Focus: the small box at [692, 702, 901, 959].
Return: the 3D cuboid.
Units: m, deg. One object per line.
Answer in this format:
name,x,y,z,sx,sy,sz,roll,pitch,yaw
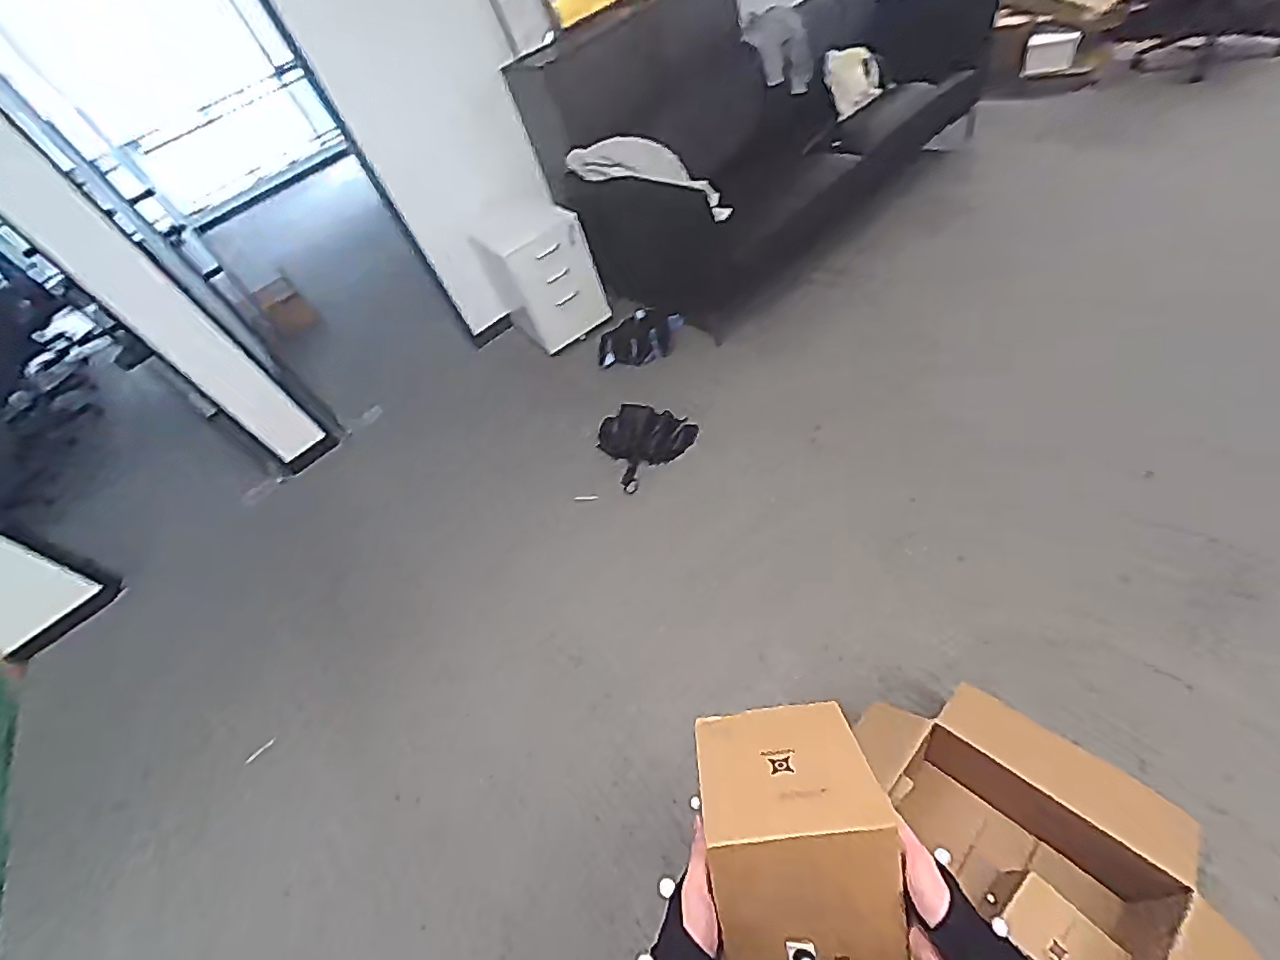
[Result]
small box,0.149,0.362,0.556,0.168,0.176,0.179,-10,12,4
